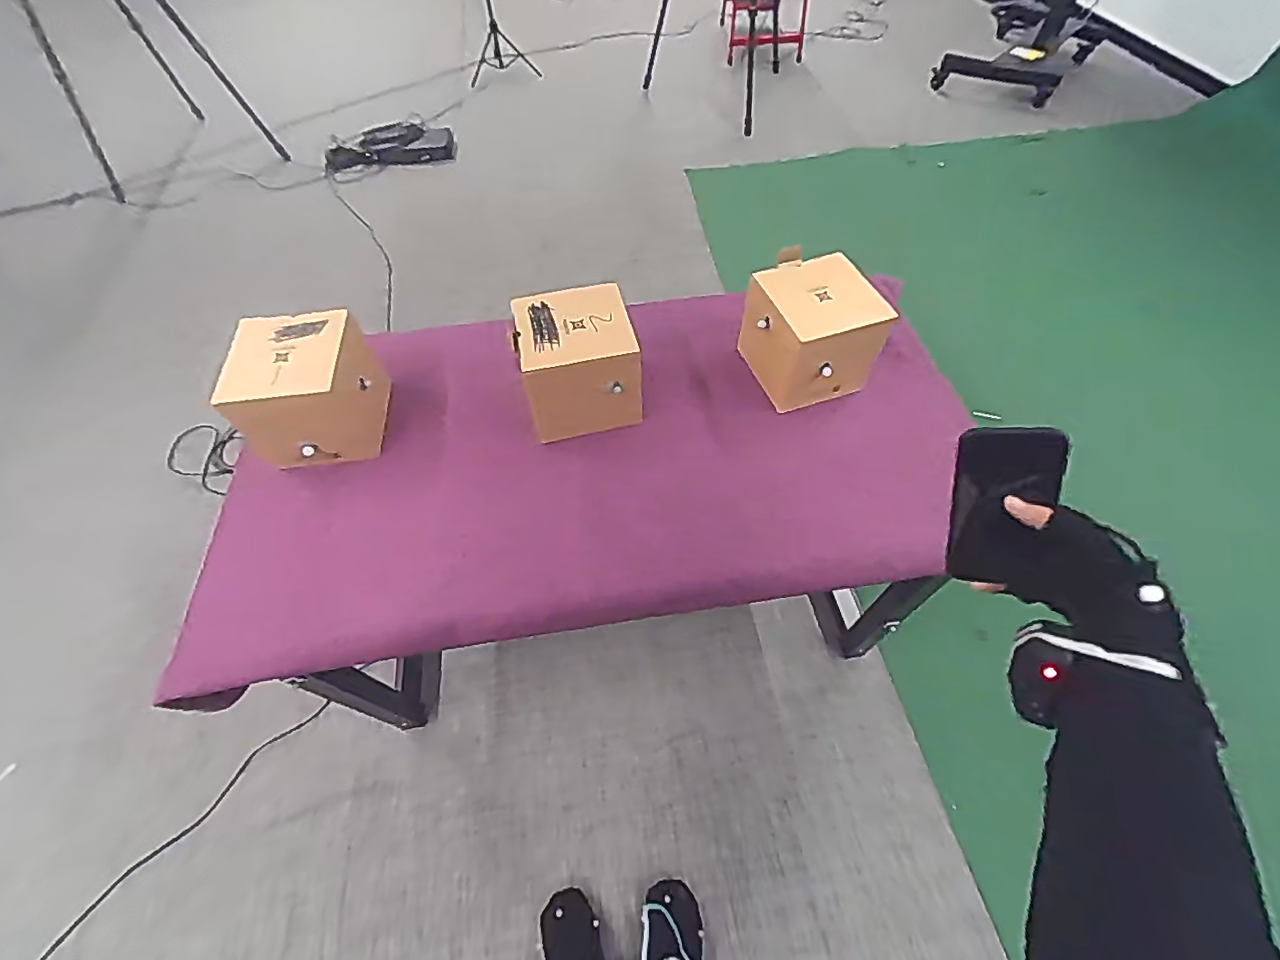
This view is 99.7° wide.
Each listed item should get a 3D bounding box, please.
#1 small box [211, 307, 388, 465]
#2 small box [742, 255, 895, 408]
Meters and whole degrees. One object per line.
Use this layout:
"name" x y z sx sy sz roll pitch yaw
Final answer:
"small box" -0.521 -0.146 0.861 0.168 0.176 0.179 -6 59 -3
"small box" 0.286 -0.242 0.912 0.168 0.176 0.179 -16 57 -9
